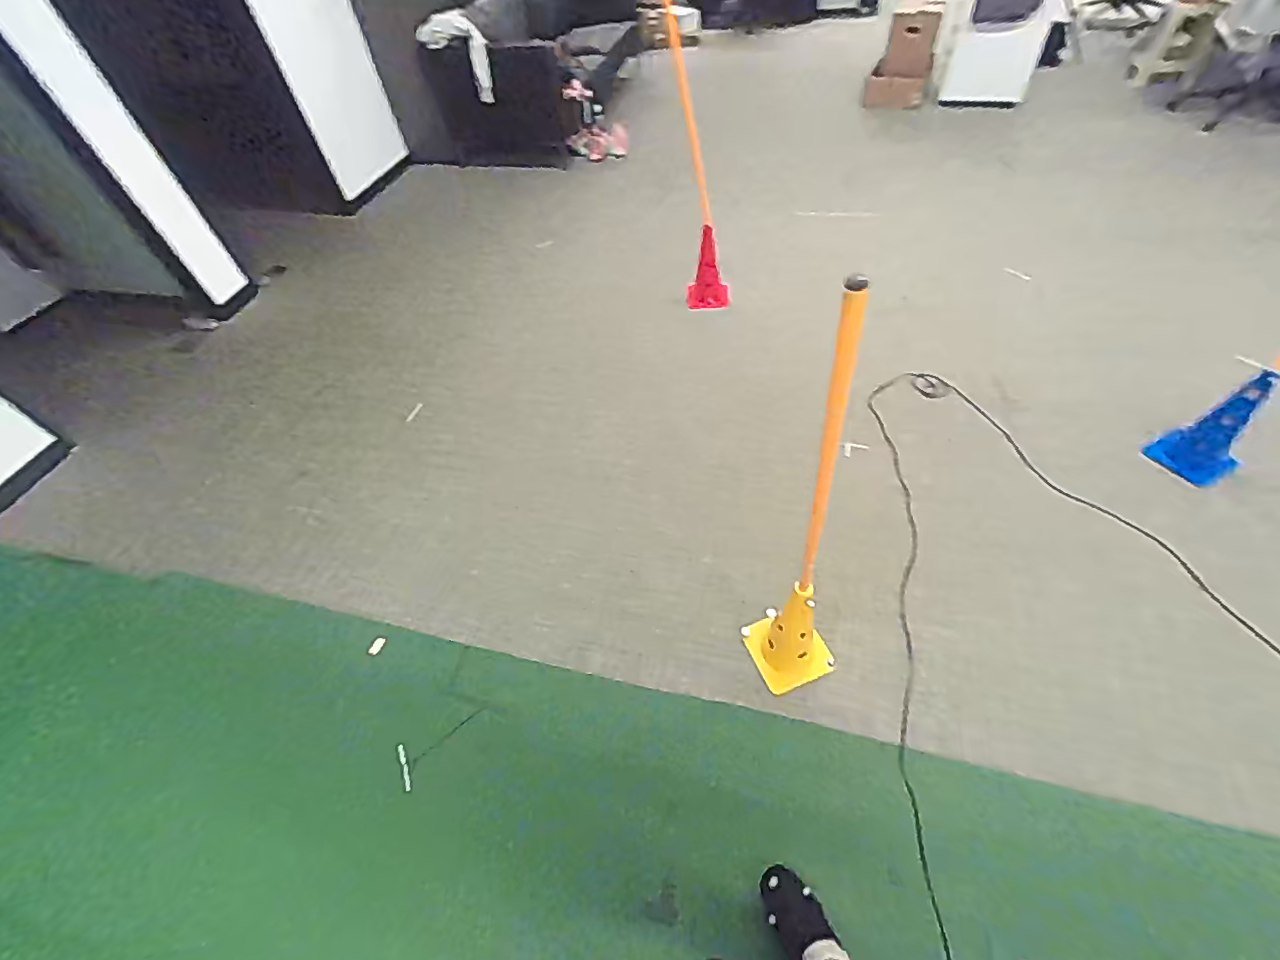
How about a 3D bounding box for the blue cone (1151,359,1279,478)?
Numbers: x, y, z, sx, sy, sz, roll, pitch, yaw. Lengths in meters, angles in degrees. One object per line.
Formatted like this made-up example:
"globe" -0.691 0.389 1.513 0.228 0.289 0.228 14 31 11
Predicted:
"blue cone" 1.779 -0.207 1.628 0.193 0.380 0.192 -26 52 -16
